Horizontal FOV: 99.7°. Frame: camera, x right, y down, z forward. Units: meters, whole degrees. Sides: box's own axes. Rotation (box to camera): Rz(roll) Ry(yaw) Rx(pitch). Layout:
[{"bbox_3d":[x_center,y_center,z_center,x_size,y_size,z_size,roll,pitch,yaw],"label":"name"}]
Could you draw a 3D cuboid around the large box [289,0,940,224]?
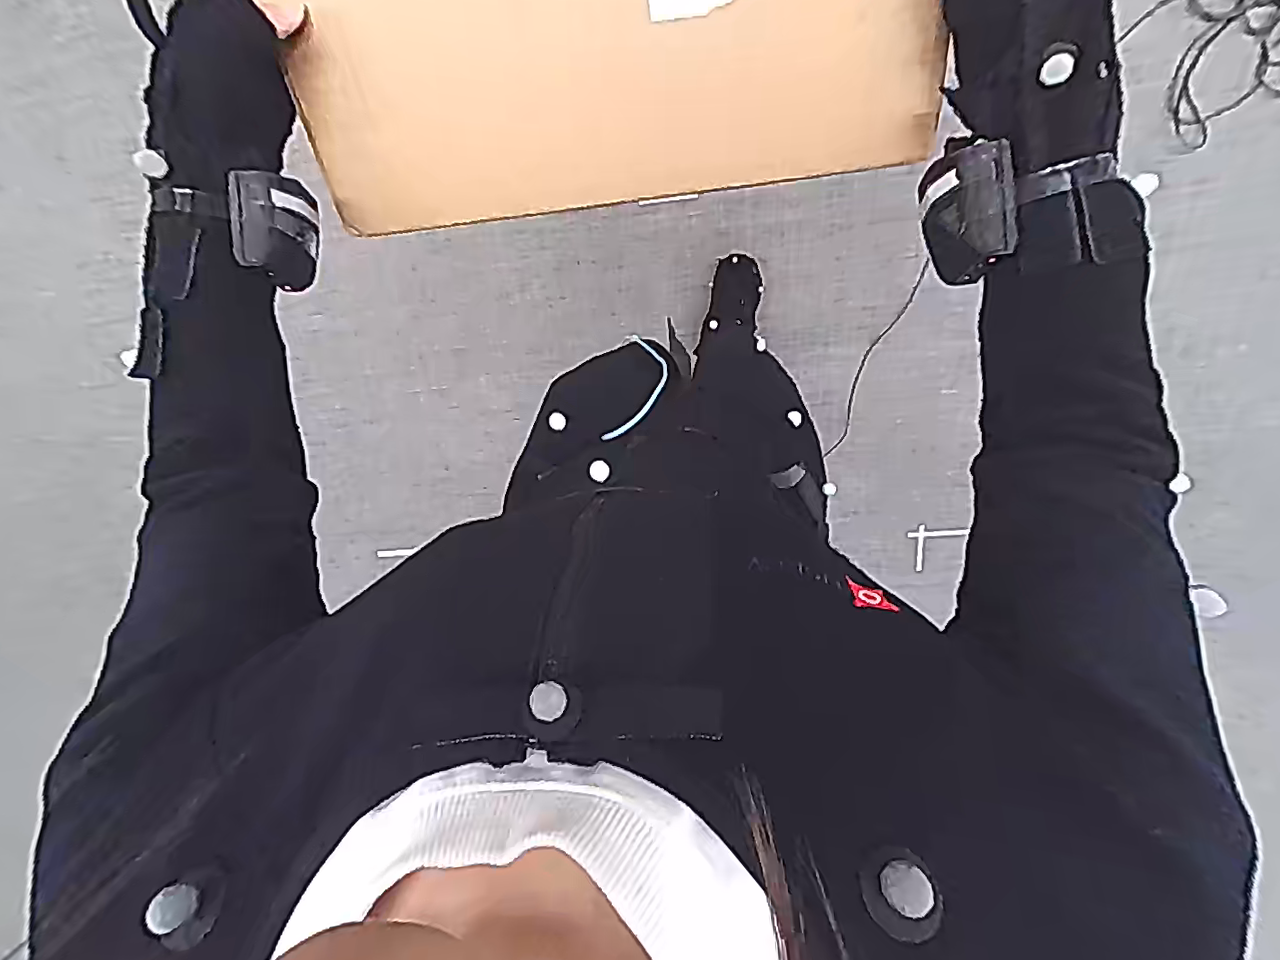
[{"bbox_3d":[-0.016,-0.415,0.428,0.408,0.320,0.320,-3,122,10],"label":"large box"}]
